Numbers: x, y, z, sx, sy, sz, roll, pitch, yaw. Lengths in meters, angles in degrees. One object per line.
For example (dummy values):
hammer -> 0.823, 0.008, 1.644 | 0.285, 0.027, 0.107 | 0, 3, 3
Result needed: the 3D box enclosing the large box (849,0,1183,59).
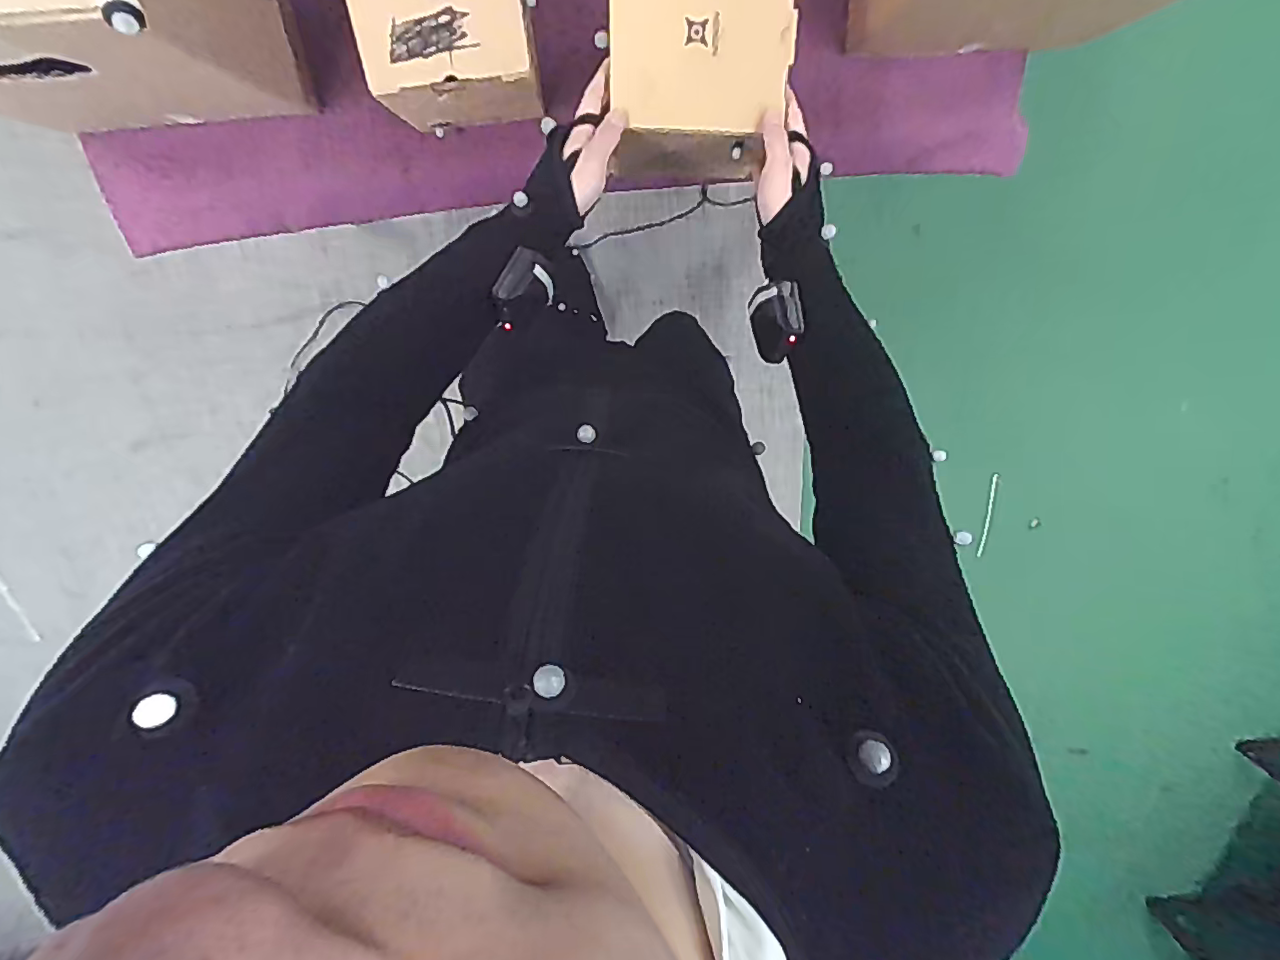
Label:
large box -> 0.414, -0.681, 0.493 | 0.320, 0.320, 0.408 | -4, 113, -2
